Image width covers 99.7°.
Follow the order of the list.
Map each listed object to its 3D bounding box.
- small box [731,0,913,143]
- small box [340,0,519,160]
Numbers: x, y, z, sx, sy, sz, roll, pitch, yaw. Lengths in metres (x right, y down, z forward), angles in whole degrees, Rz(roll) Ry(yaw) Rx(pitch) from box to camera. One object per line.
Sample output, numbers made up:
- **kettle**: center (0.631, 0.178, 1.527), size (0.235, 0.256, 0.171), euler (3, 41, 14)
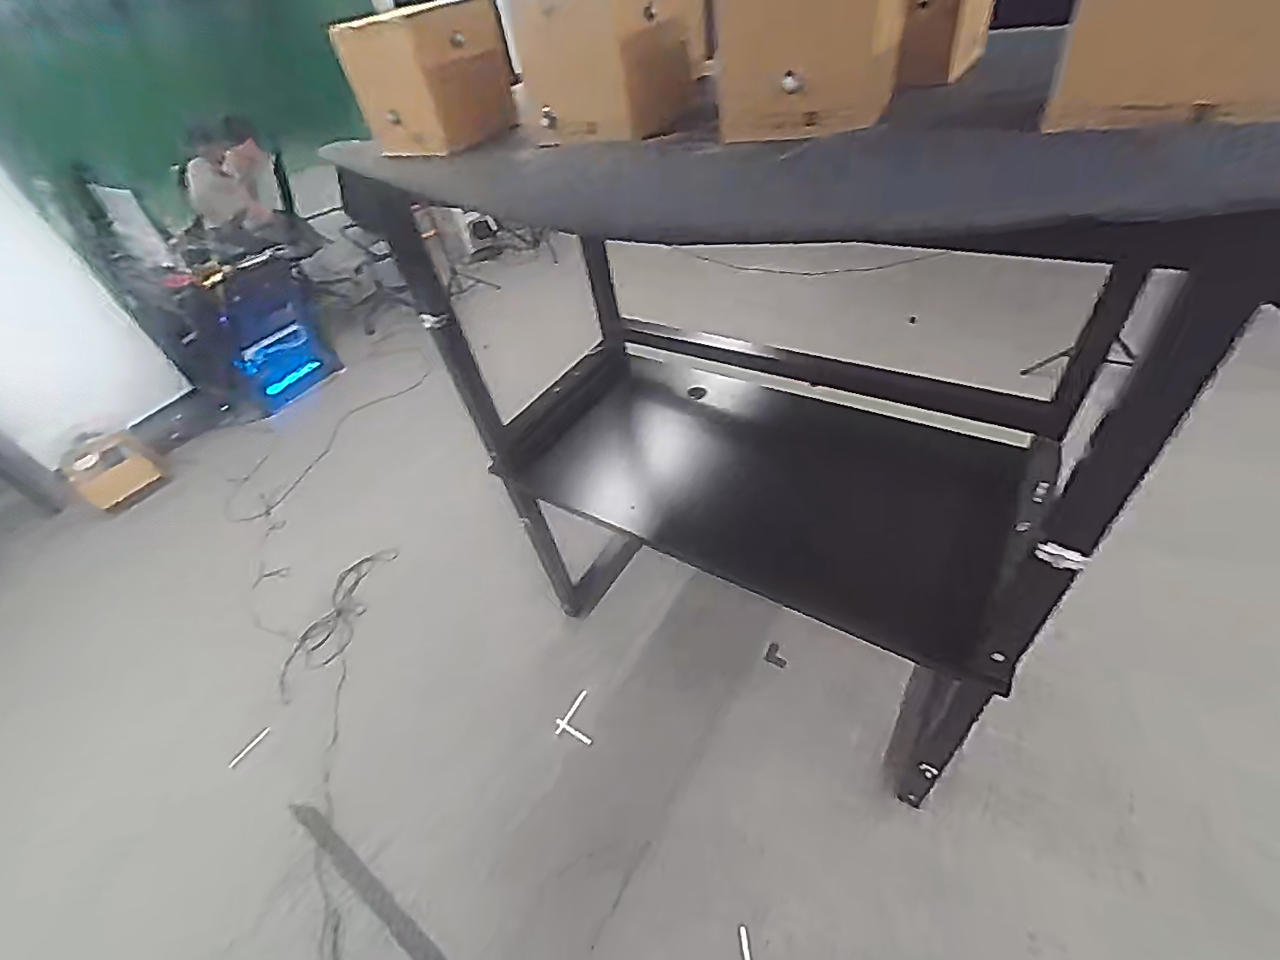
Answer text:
- **small box**: center (0.203, -0.496, 0.605), size (0.168, 0.176, 0.179), euler (13, 49, 24)
- **small box**: center (-0.311, -0.622, 0.845), size (0.168, 0.176, 0.179), euler (17, 52, 27)
